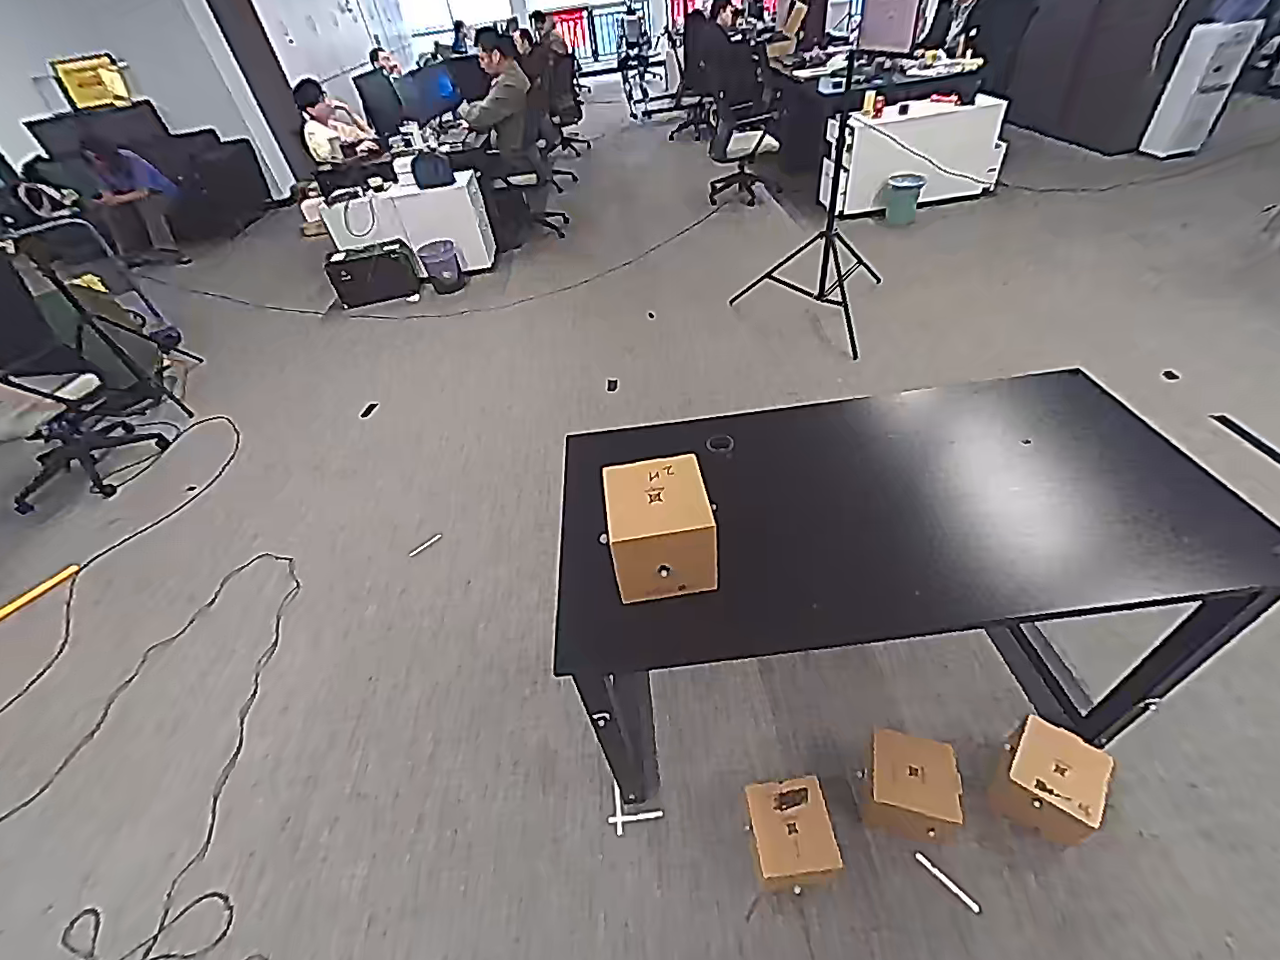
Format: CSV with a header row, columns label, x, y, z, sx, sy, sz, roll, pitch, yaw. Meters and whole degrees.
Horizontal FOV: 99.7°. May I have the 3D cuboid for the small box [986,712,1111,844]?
label,x,y,z,sx,sy,sz,roll,pitch,yaw
small box,0.920,0.676,1.228,0.168,0.176,0.179,26,53,32

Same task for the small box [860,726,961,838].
label,x,y,z,sx,sy,sz,roll,pitch,yaw
small box,0.618,0.703,1.255,0.179,0.176,0.168,6,45,17

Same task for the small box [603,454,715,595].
label,x,y,z,sx,sy,sz,roll,pitch,yaw
small box,0.033,0.083,0.937,0.168,0.176,0.179,-9,43,-1

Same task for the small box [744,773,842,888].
label,x,y,z,sx,sy,sz,roll,pitch,yaw
small box,0.332,0.787,1.213,0.168,0.176,0.179,-9,45,1
